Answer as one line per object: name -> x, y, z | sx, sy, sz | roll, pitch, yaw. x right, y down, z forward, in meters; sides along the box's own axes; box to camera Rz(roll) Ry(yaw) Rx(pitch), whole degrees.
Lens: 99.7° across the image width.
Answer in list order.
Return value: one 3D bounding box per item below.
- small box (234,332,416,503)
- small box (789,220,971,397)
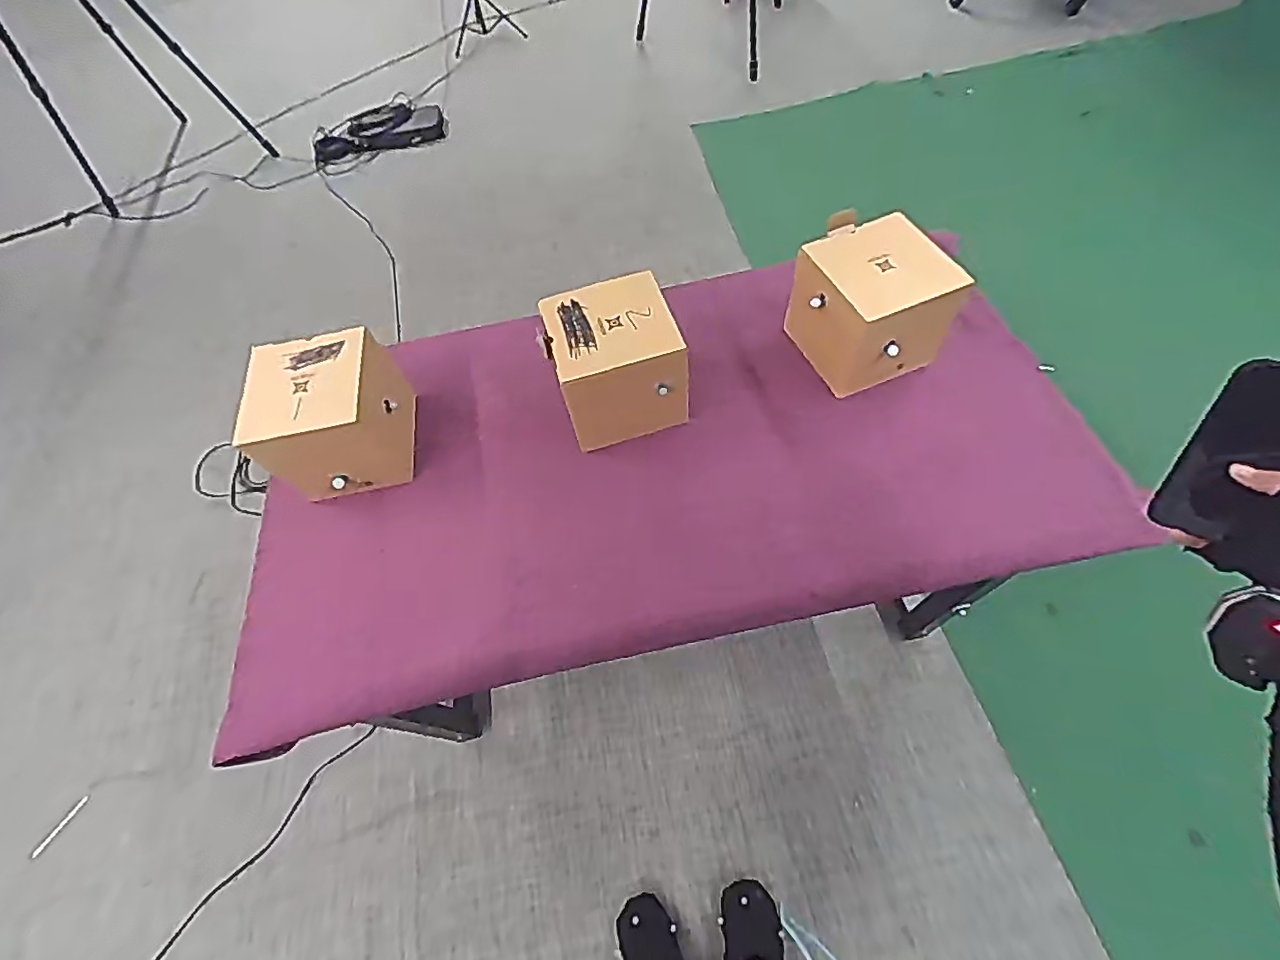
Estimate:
small box -> -0.451, -0.088, 0.806 | 0.168, 0.176, 0.179 | -11, 61, -1
small box -> 0.347, -0.249, 0.822 | 0.168, 0.176, 0.179 | -21, 59, -6
